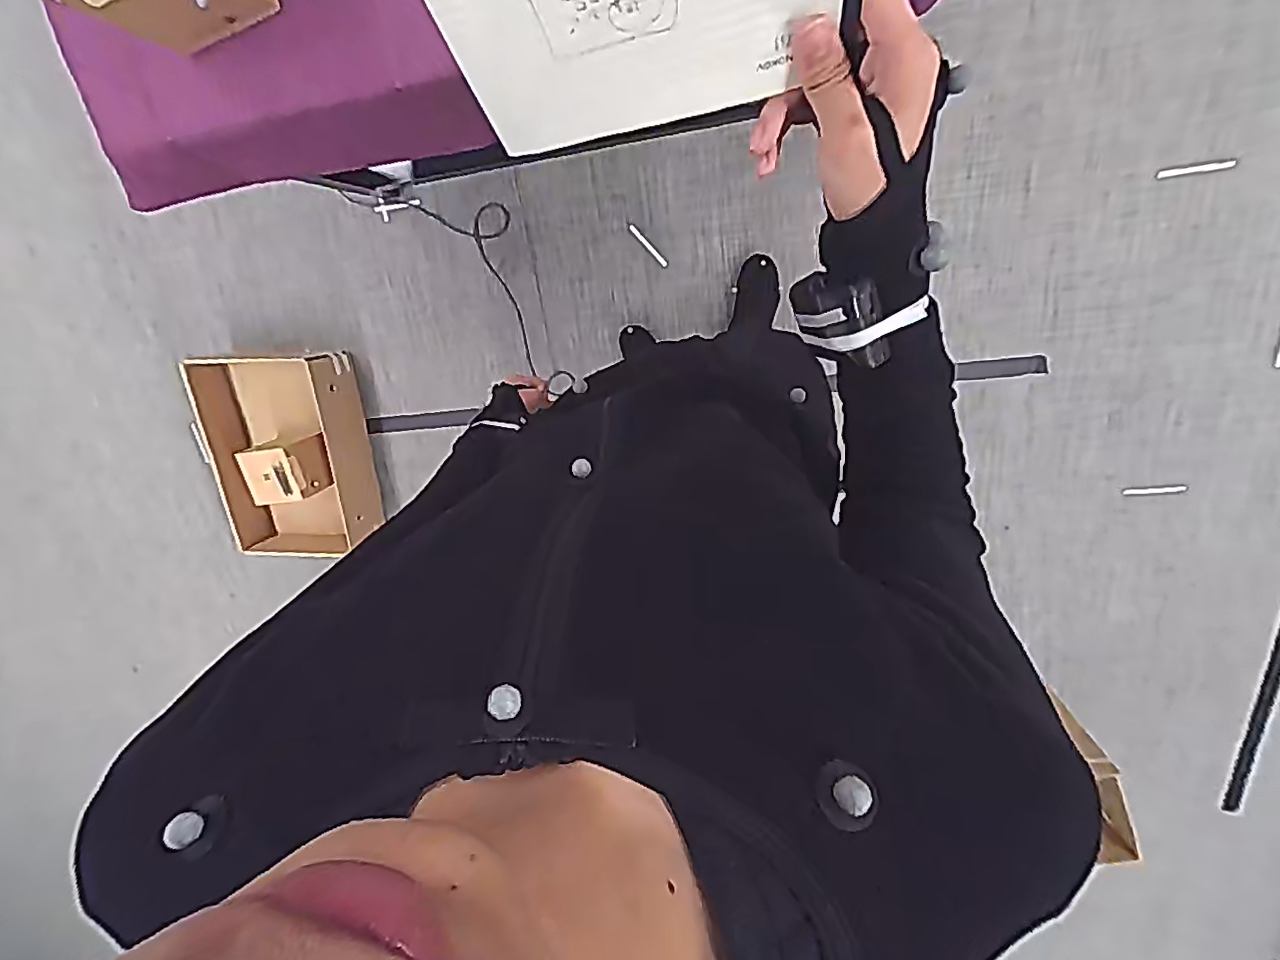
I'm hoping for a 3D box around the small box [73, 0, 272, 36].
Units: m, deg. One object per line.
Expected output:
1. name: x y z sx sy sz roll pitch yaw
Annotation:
1. small box: -0.580 -0.660 0.626 0.168 0.176 0.179 -12 108 11
